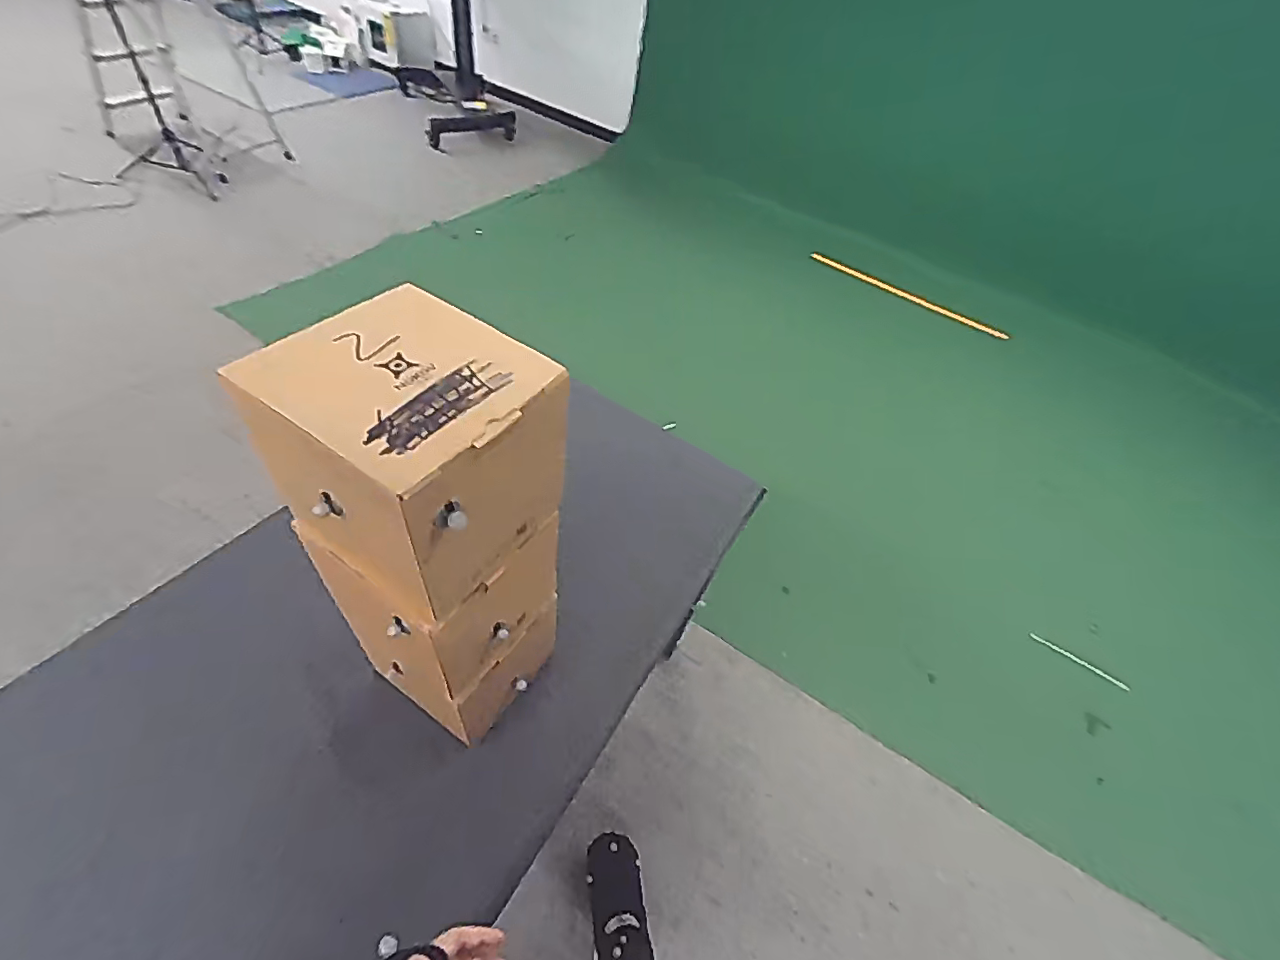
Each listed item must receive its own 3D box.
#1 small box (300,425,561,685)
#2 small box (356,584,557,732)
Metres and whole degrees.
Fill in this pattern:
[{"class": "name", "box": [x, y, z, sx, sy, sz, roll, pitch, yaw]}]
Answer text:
[{"class": "small box", "box": [-0.205, 0.081, 0.566, 0.179, 0.176, 0.168, 32, 51, 14]}, {"class": "small box", "box": [-0.226, 0.186, 0.686, 0.179, 0.176, 0.168, 32, 52, 15]}]
